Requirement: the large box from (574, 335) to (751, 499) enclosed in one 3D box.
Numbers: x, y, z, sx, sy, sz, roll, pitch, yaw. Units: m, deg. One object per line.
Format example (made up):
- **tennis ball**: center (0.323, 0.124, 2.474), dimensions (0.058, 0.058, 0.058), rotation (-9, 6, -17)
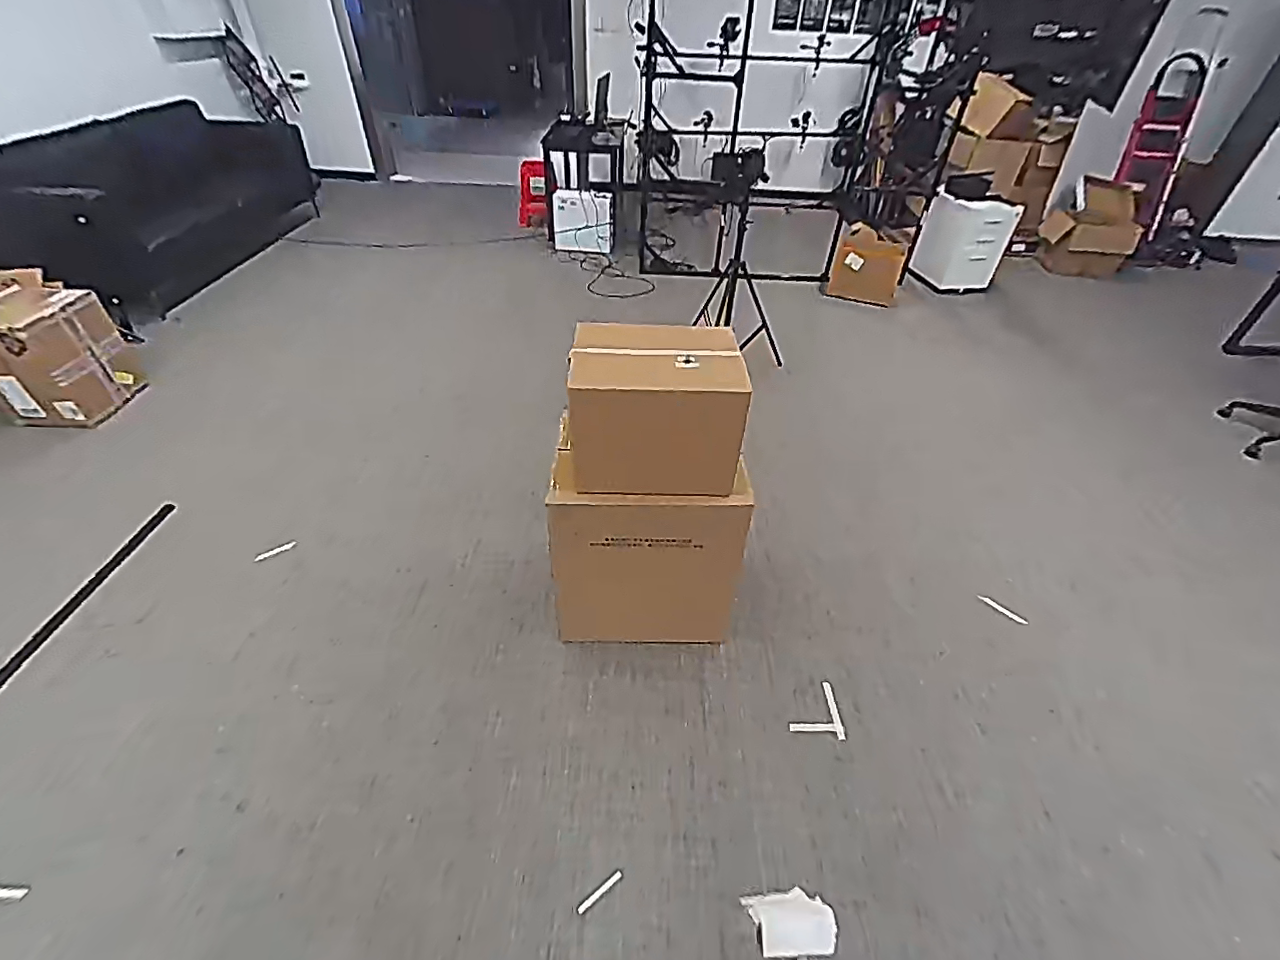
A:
- **large box**: center (0.038, -0.162, 1.394), dimensions (0.408, 0.320, 0.320), rotation (1, 42, -3)
